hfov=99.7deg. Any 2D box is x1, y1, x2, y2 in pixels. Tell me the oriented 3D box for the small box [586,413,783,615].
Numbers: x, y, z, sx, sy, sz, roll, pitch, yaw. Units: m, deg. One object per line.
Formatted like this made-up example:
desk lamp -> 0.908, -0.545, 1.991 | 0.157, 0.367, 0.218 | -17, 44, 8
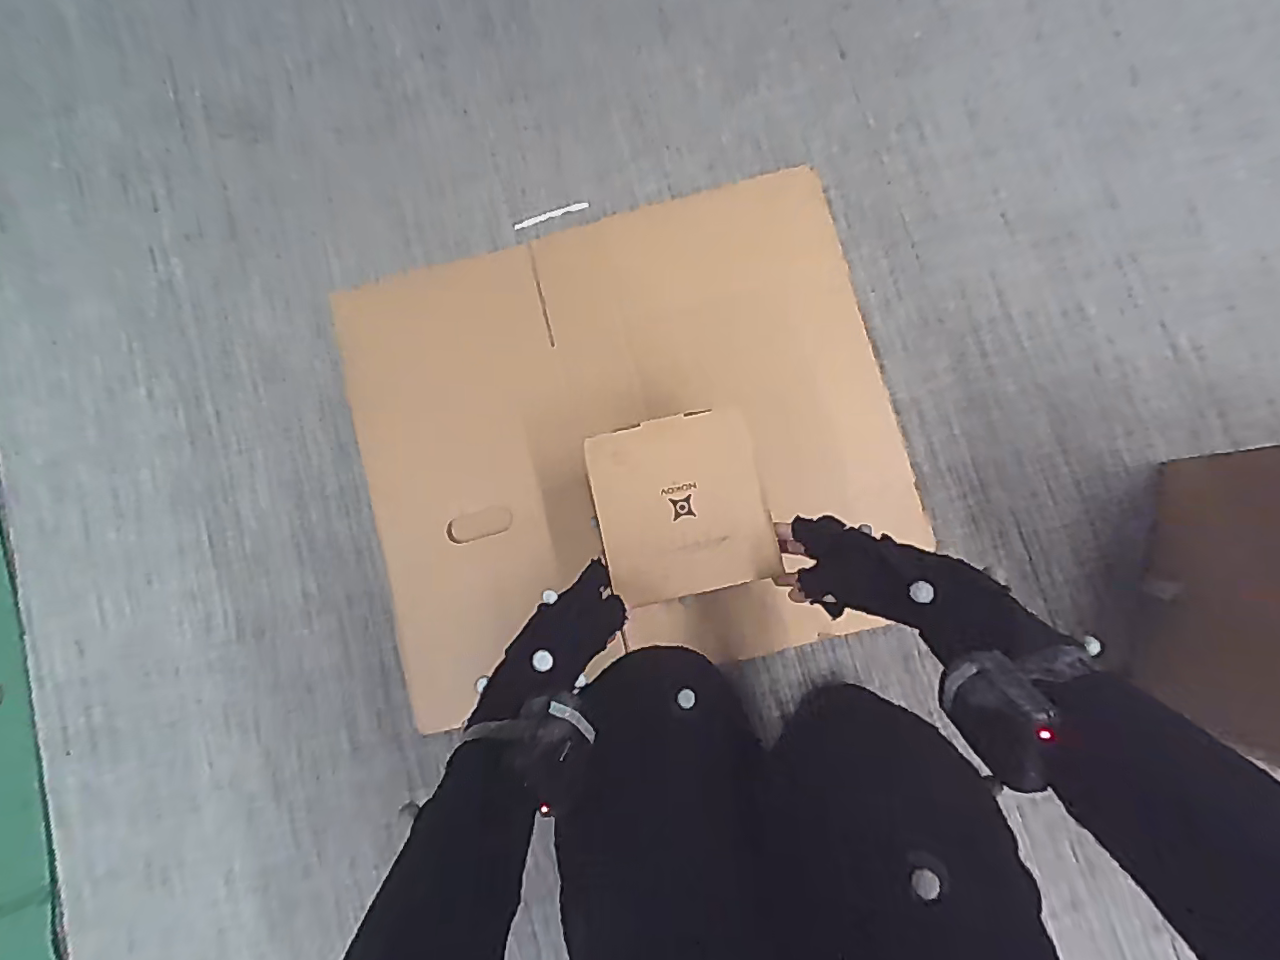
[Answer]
small box -> 0.042, 0.044, 0.610 | 0.168, 0.176, 0.179 | -13, 81, 0
